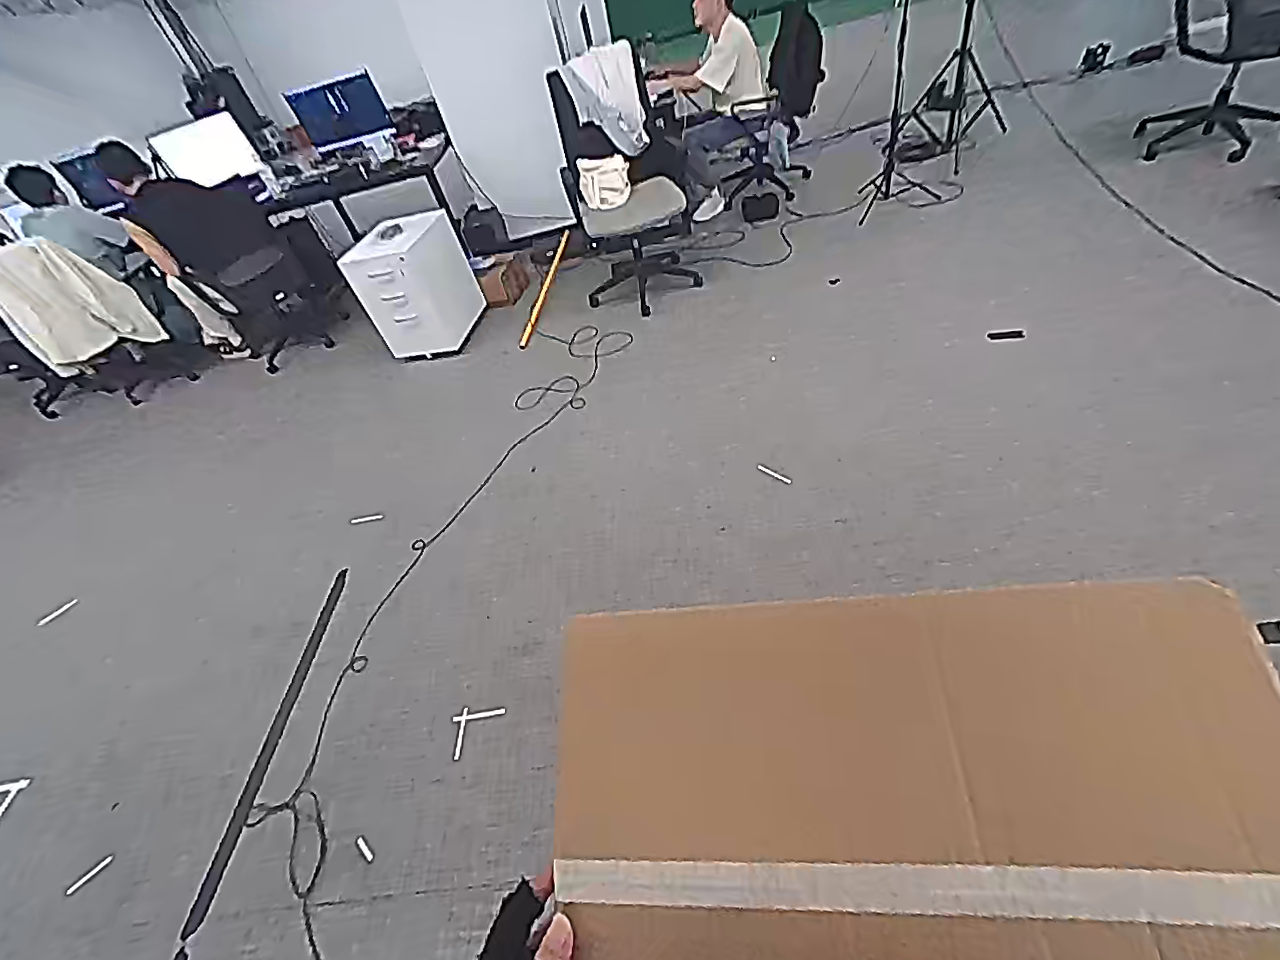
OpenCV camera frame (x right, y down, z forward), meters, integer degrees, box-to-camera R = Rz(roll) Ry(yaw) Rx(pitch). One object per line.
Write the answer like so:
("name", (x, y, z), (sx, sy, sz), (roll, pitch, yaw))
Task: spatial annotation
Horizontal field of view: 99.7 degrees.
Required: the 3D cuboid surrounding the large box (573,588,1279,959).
("large box", (0.184, 0.290, 0.428), (0.408, 0.320, 0.320), (-6, 65, 11))
